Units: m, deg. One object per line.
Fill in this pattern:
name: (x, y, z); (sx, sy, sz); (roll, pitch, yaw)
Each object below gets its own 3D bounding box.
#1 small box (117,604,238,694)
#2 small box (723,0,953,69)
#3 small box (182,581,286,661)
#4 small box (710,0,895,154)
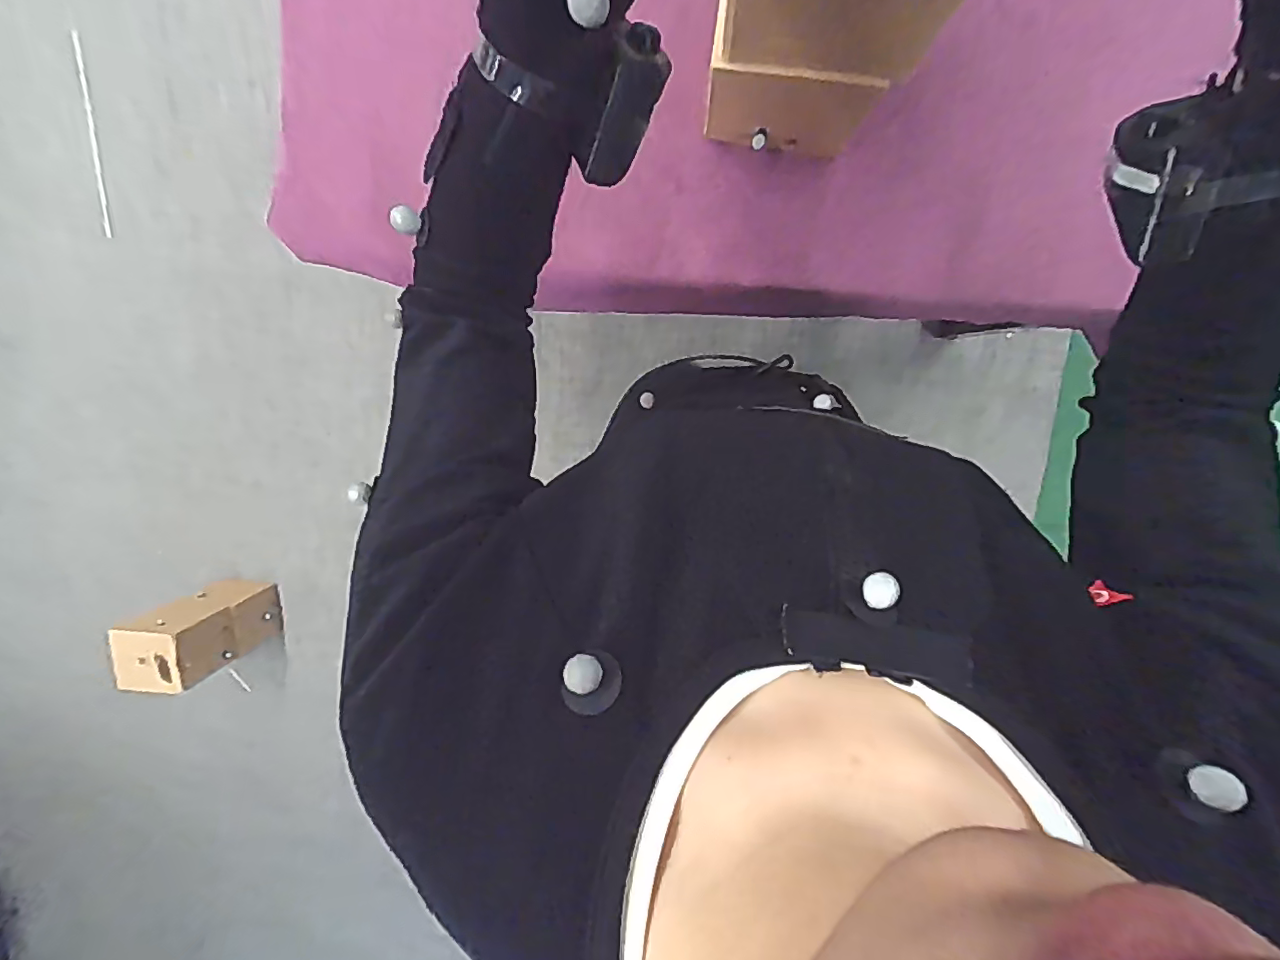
small box: (-1.197, 0.436, 1.418); (0.179, 0.176, 0.168); (3, 102, 5)
small box: (0.159, -0.436, 0.392); (0.179, 0.176, 0.168); (7, 102, 3)
small box: (-1.178, 0.404, 1.578); (0.179, 0.176, 0.168); (3, 102, 3)
small box: (0.166, -0.467, 0.551); (0.168, 0.176, 0.179); (9, 103, 4)
